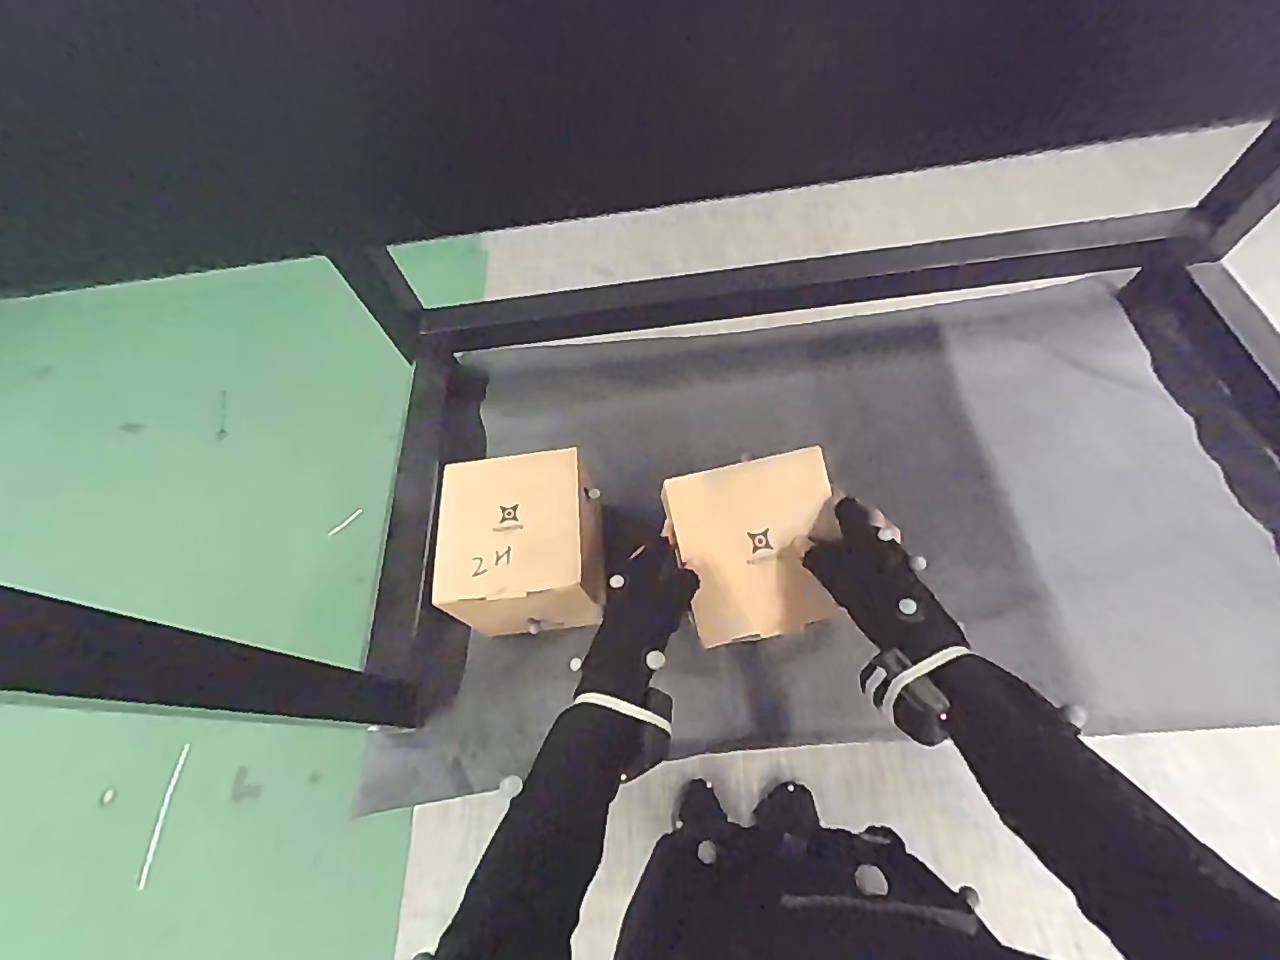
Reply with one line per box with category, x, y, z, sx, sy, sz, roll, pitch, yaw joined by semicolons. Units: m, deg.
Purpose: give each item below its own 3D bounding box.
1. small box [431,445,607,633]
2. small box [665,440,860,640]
small box;-0.138;0.080;0.680;0.168;0.176;0.179;-7;61;5
small box;0.124;0.067;0.623;0.168;0.176;0.179;-13;85;2
